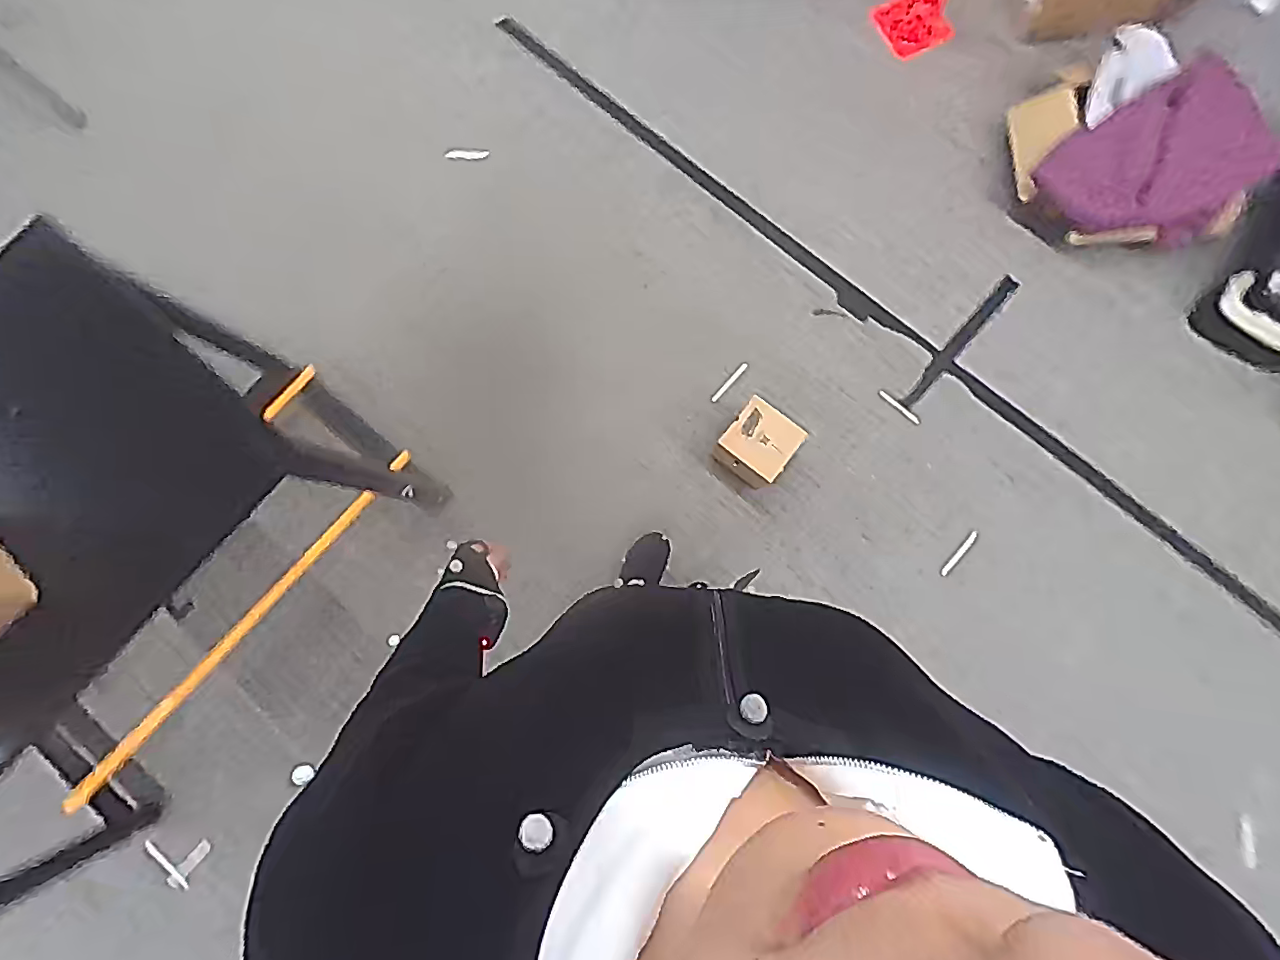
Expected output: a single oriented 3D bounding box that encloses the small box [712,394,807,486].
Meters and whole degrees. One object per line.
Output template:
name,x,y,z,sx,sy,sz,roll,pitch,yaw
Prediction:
small box,0.316,-0.100,1.471,0.179,0.176,0.168,38,85,5
